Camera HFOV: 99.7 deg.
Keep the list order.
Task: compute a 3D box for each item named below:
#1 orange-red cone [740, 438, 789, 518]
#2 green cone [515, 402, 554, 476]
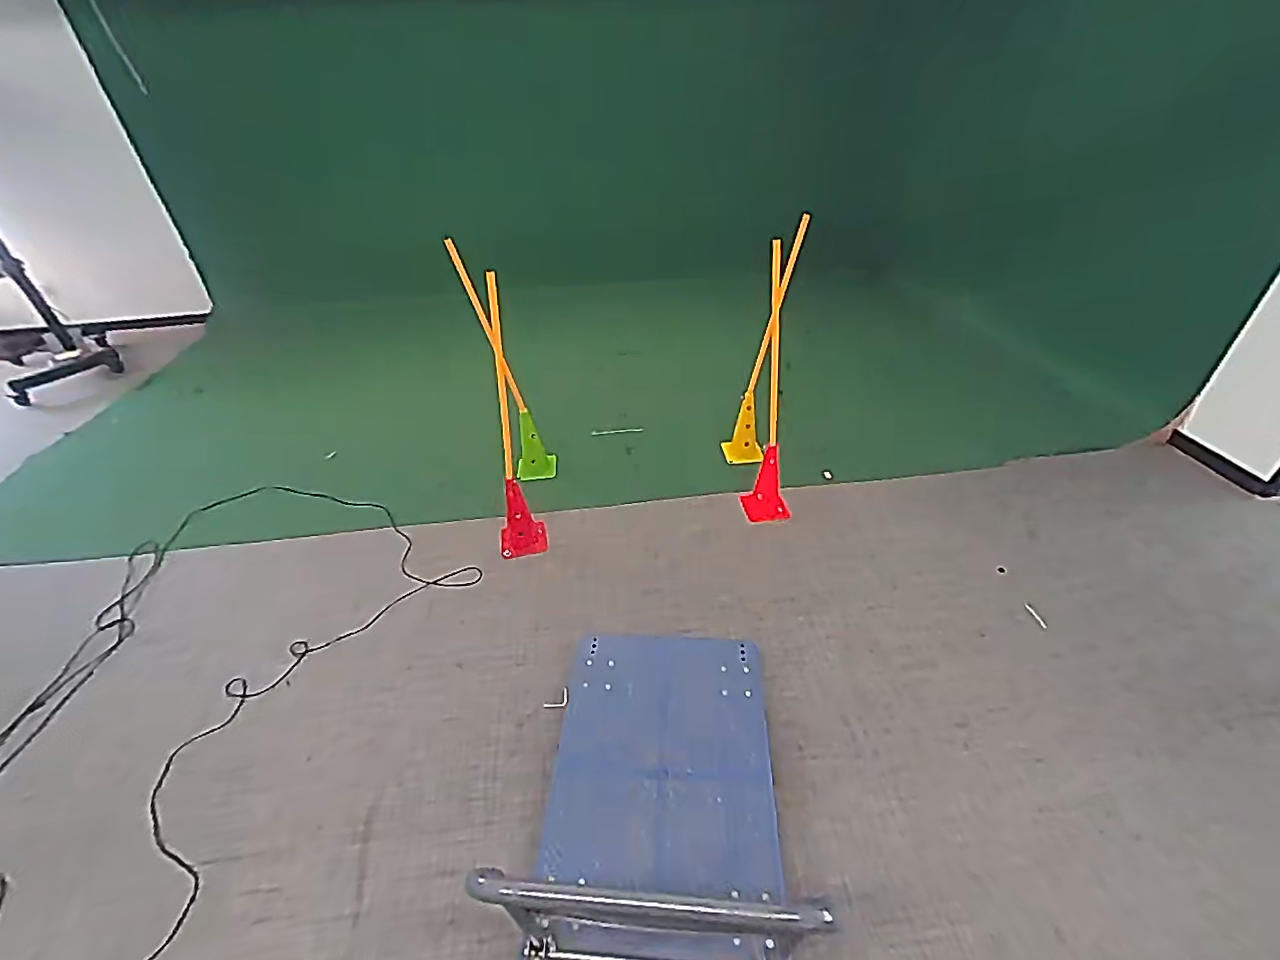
[{"bbox_3d":[0.572,-0.029,2.420,0.198,0.360,0.199,-5,36,-4],"label":"orange-red cone"},{"bbox_3d":[-0.560,-0.222,2.734,0.200,0.368,0.202,-6,37,-3],"label":"green cone"}]
